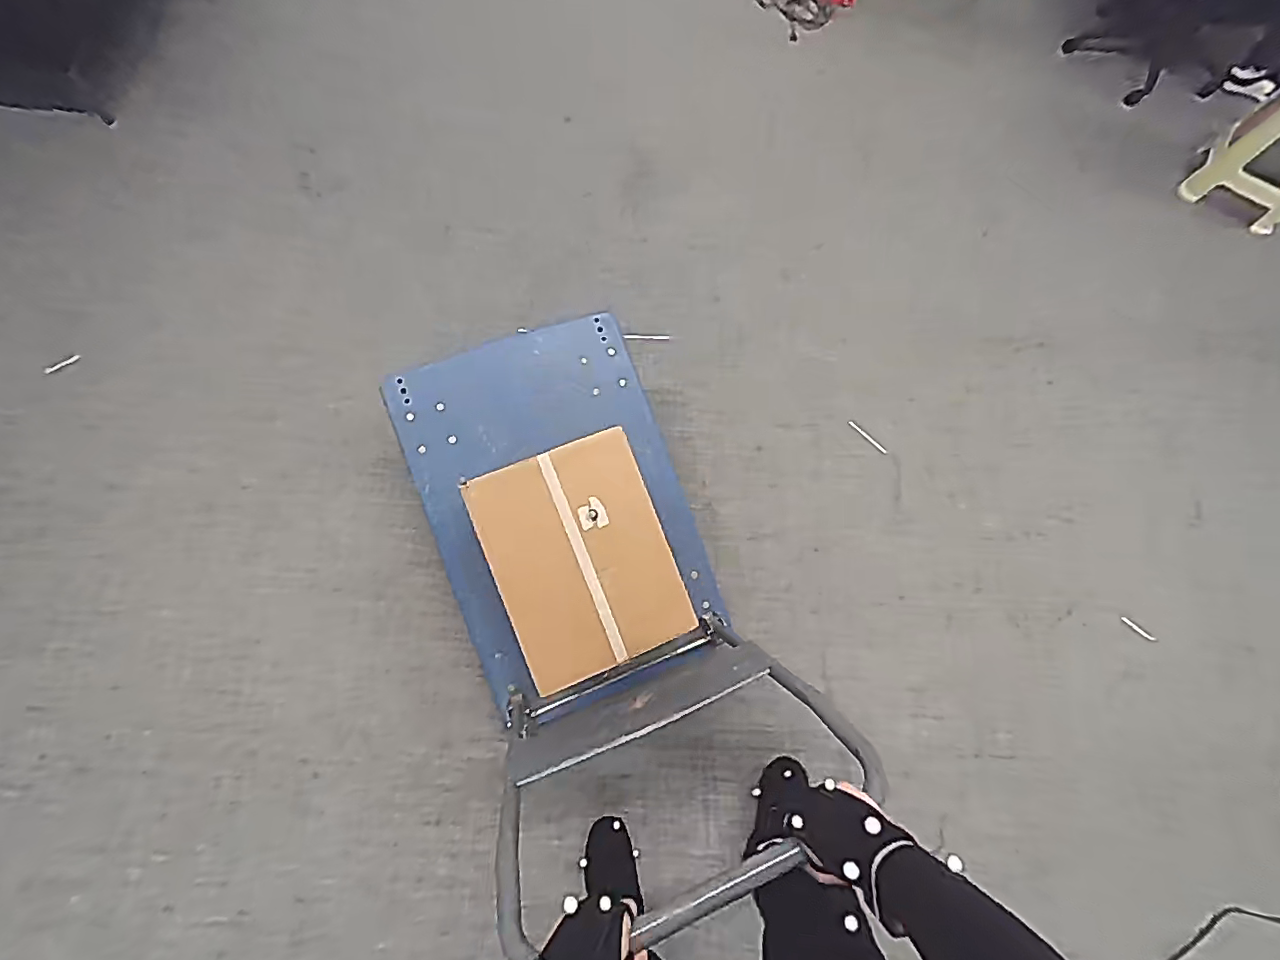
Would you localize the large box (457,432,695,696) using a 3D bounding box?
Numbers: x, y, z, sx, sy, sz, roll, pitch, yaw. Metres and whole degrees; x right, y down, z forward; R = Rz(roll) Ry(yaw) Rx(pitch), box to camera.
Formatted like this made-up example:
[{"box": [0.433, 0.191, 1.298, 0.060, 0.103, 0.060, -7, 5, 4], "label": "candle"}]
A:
[{"box": [-0.131, 0.159, 1.129, 0.320, 0.320, 0.408, -23, 89, -10], "label": "large box"}]
